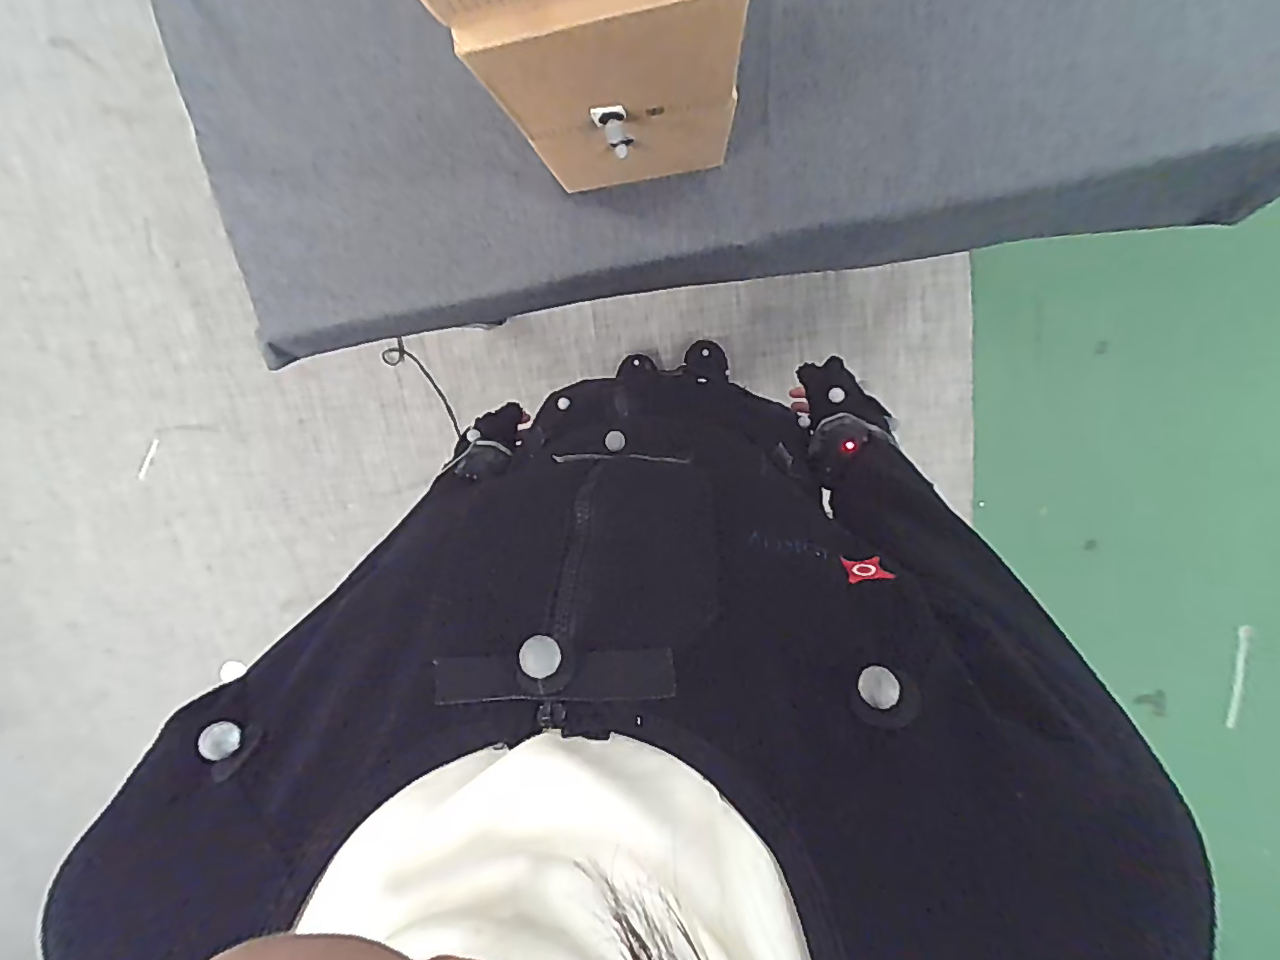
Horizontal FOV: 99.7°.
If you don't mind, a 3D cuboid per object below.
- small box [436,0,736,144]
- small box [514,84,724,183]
[{"bbox_3d":[-0.034,-0.351,0.346,0.168,0.176,0.179,-7,105,9],"label":"small box"},{"bbox_3d":[-0.019,-0.394,0.500,0.179,0.176,0.168,-6,105,6],"label":"small box"}]
